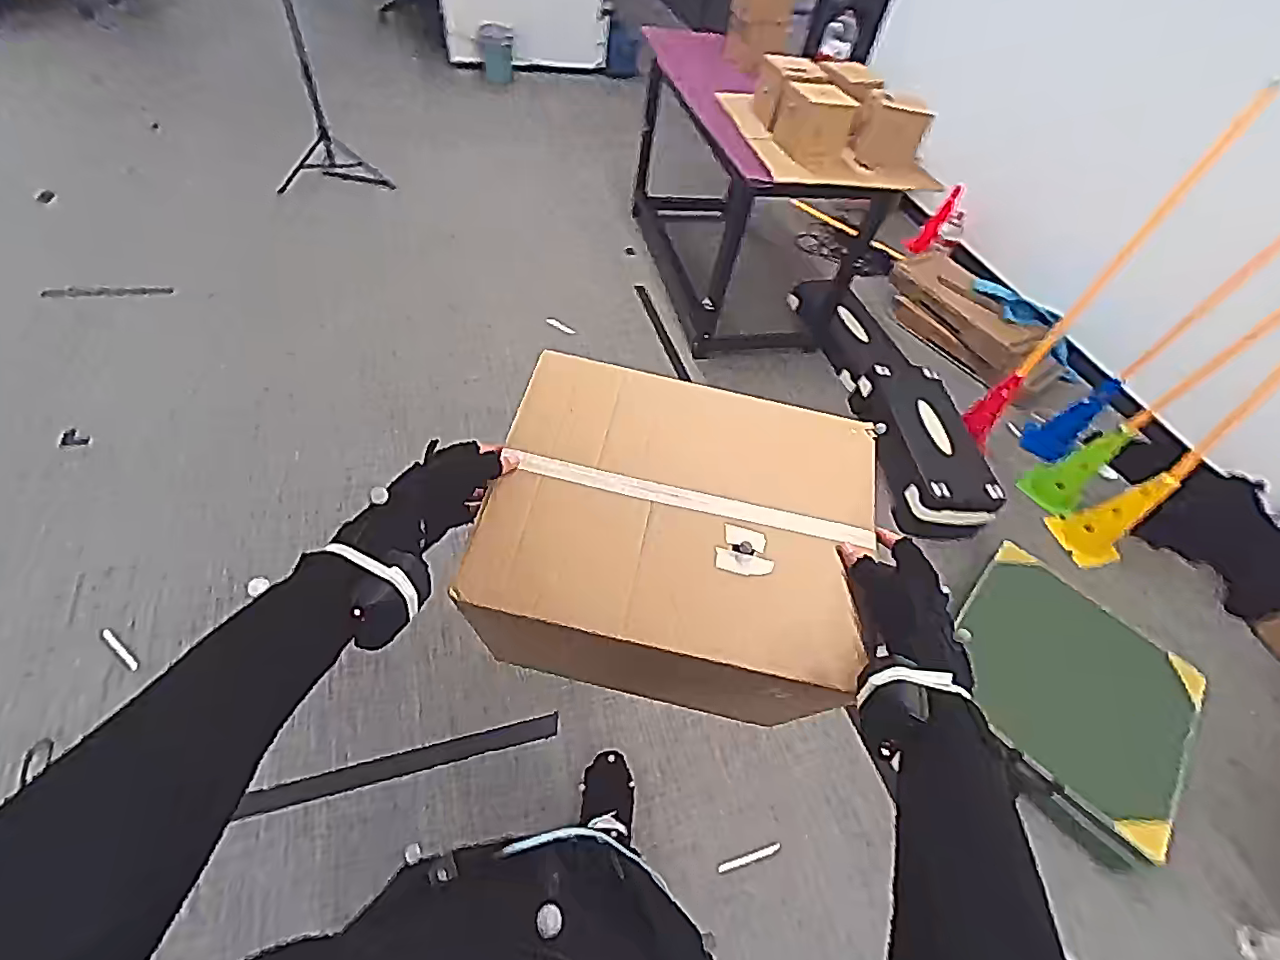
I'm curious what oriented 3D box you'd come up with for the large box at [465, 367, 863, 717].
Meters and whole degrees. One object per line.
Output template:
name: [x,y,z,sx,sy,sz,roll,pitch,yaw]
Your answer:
large box: [0.032,0.101,0.721,0.408,0.320,0.320,13,62,0]
